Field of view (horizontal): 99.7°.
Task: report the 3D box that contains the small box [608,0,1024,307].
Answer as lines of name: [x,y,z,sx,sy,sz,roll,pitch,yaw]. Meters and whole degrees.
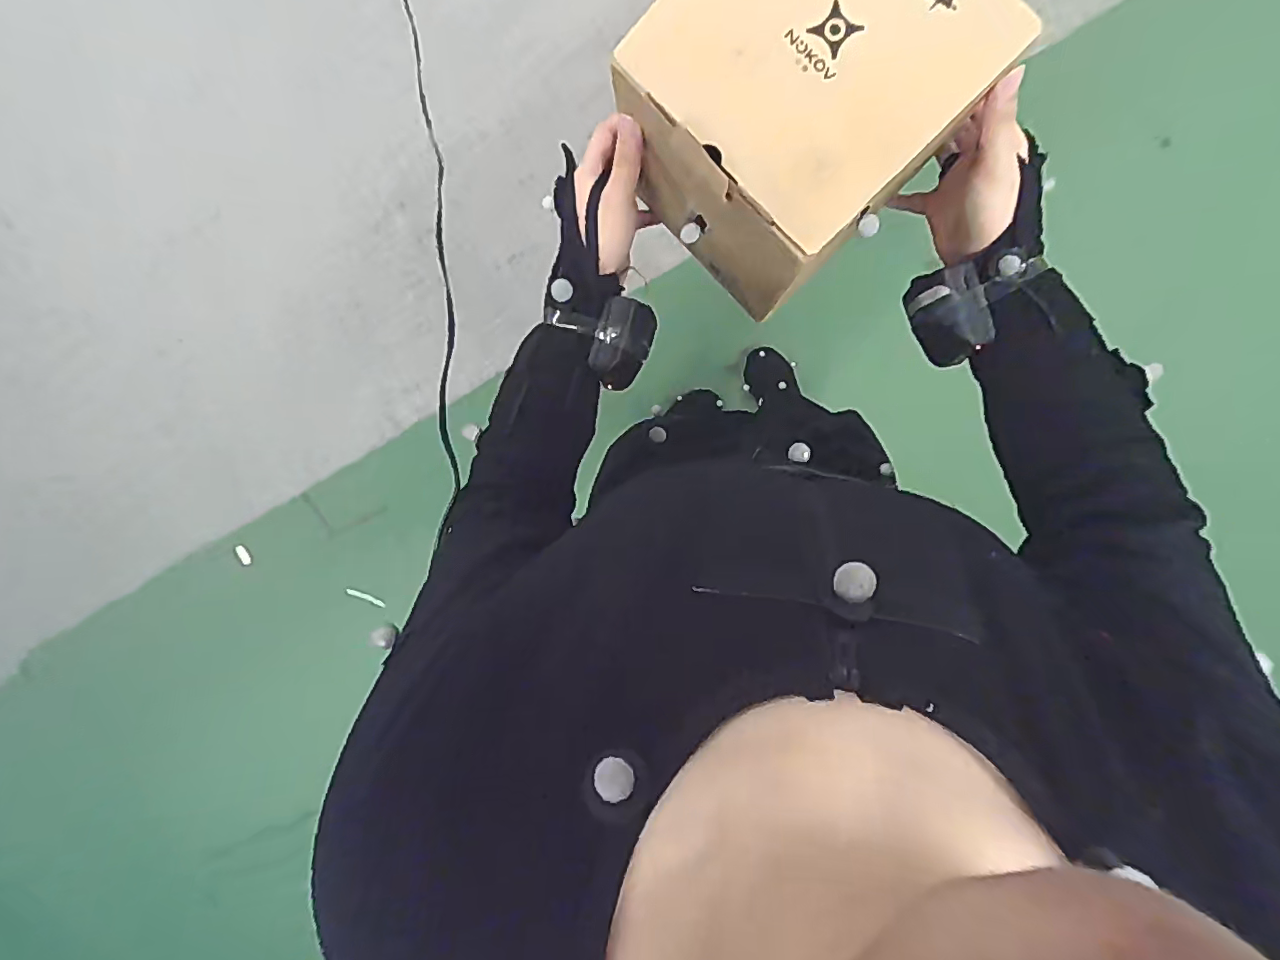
small box: [0.104,-0.253,0.387,0.179,0.176,0.168,-45,90,7]
